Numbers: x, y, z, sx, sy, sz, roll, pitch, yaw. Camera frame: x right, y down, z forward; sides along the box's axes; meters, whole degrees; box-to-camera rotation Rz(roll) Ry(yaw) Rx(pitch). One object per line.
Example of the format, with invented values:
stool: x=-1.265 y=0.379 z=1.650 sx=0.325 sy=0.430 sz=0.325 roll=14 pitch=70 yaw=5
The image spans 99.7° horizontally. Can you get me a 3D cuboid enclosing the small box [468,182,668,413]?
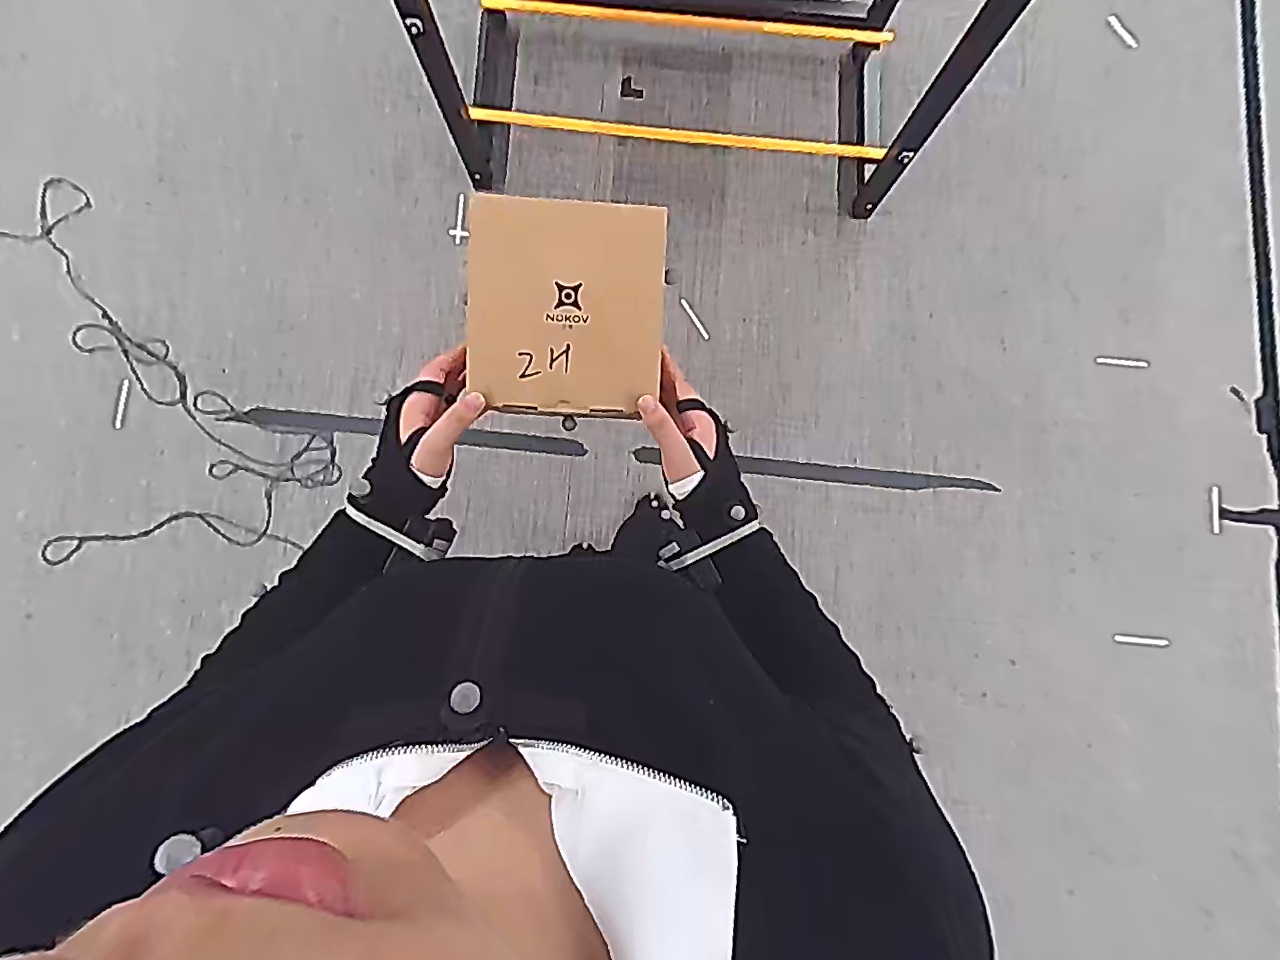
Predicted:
small box: x=-0.067 y=-0.164 z=0.541 sx=0.168 sy=0.176 sz=0.179 roll=2 pitch=94 yaw=-3
